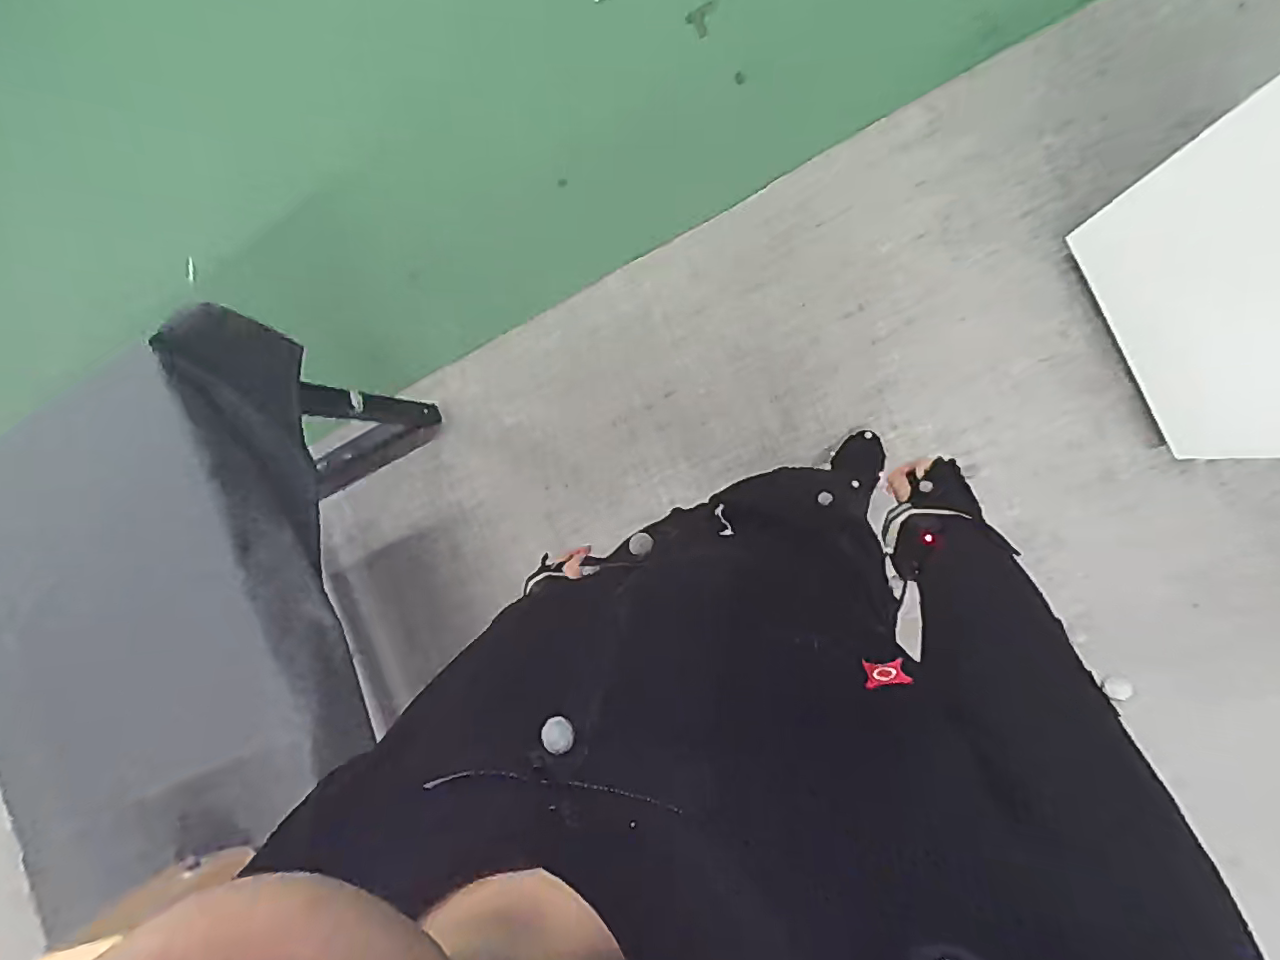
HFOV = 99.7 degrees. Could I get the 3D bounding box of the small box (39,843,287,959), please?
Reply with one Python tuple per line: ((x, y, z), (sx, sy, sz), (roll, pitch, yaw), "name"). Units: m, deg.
((-0.616, 0.635, 0.718), (0.168, 0.176, 0.179), (-23, 85, 12), "small box")
